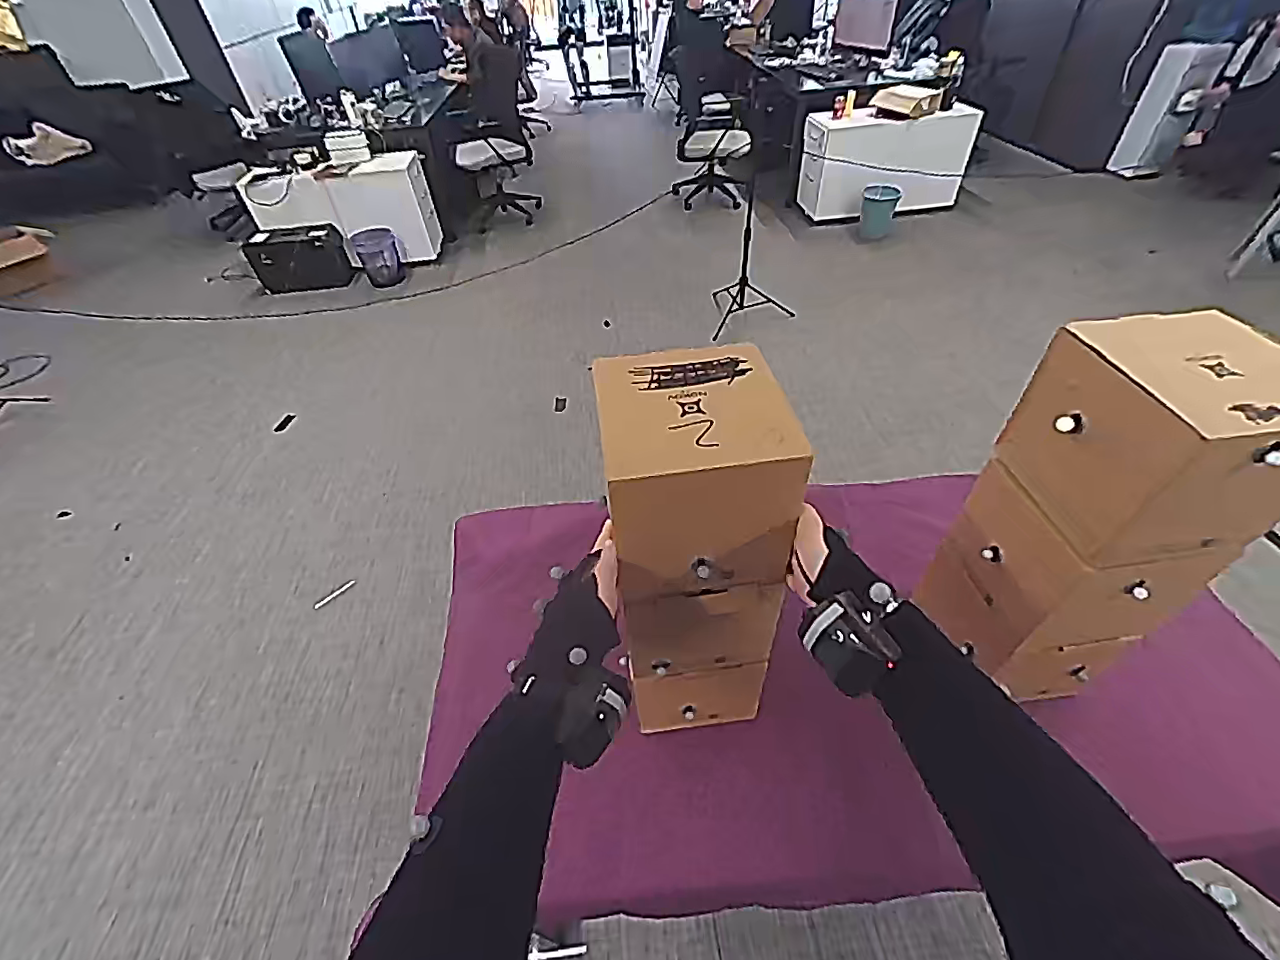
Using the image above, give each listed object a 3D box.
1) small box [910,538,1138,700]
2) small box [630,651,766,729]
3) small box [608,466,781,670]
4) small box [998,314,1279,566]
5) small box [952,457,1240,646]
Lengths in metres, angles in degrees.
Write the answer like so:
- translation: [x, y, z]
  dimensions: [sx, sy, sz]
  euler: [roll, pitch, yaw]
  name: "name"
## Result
- translation: [0.515, 0.193, 0.760]
  dimensions: [0.168, 0.176, 0.179]
  euler: [-6, 45, -2]
  name: "small box"
- translation: [0.067, 0.226, 0.765]
  dimensions: [0.168, 0.176, 0.179]
  euler: [-7, 46, -3]
  name: "small box"
- translation: [0.057, 0.110, 0.649]
  dimensions: [0.168, 0.176, 0.179]
  euler: [-8, 45, -4]
  name: "small box"
- translation: [0.501, -0.040, 0.530]
  dimensions: [0.168, 0.176, 0.179]
  euler: [-6, 45, -2]
  name: "small box"
- translation: [0.505, 0.080, 0.642]
  dimensions: [0.179, 0.176, 0.168]
  euler: [-7, 46, -3]
  name: "small box"
